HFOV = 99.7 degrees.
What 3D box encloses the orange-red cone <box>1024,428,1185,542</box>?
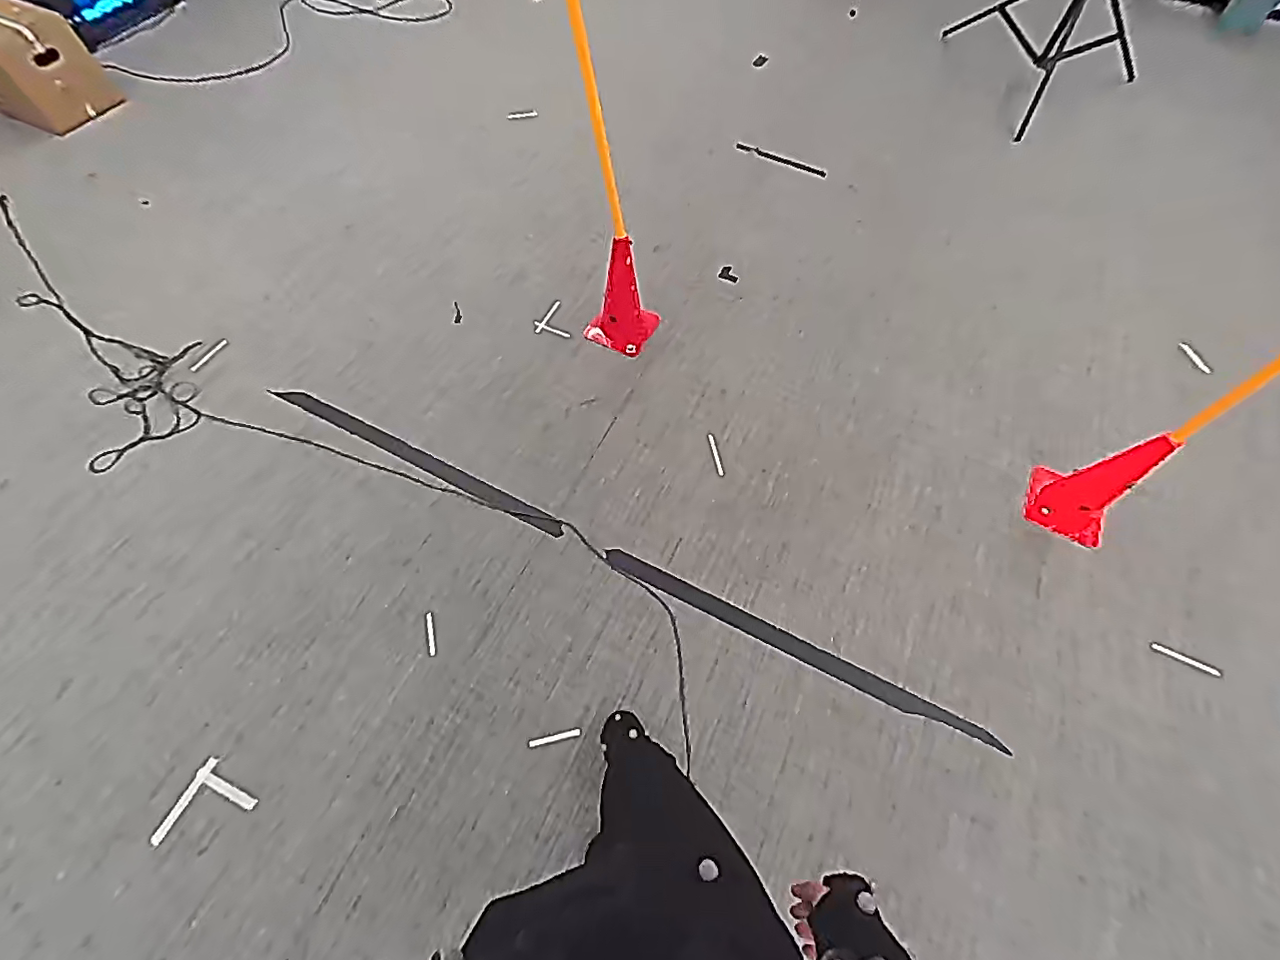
[{"bbox_3d":[1.196,-0.021,1.361,0.199,0.360,0.198,28,66,12],"label":"orange-red cone"}]
